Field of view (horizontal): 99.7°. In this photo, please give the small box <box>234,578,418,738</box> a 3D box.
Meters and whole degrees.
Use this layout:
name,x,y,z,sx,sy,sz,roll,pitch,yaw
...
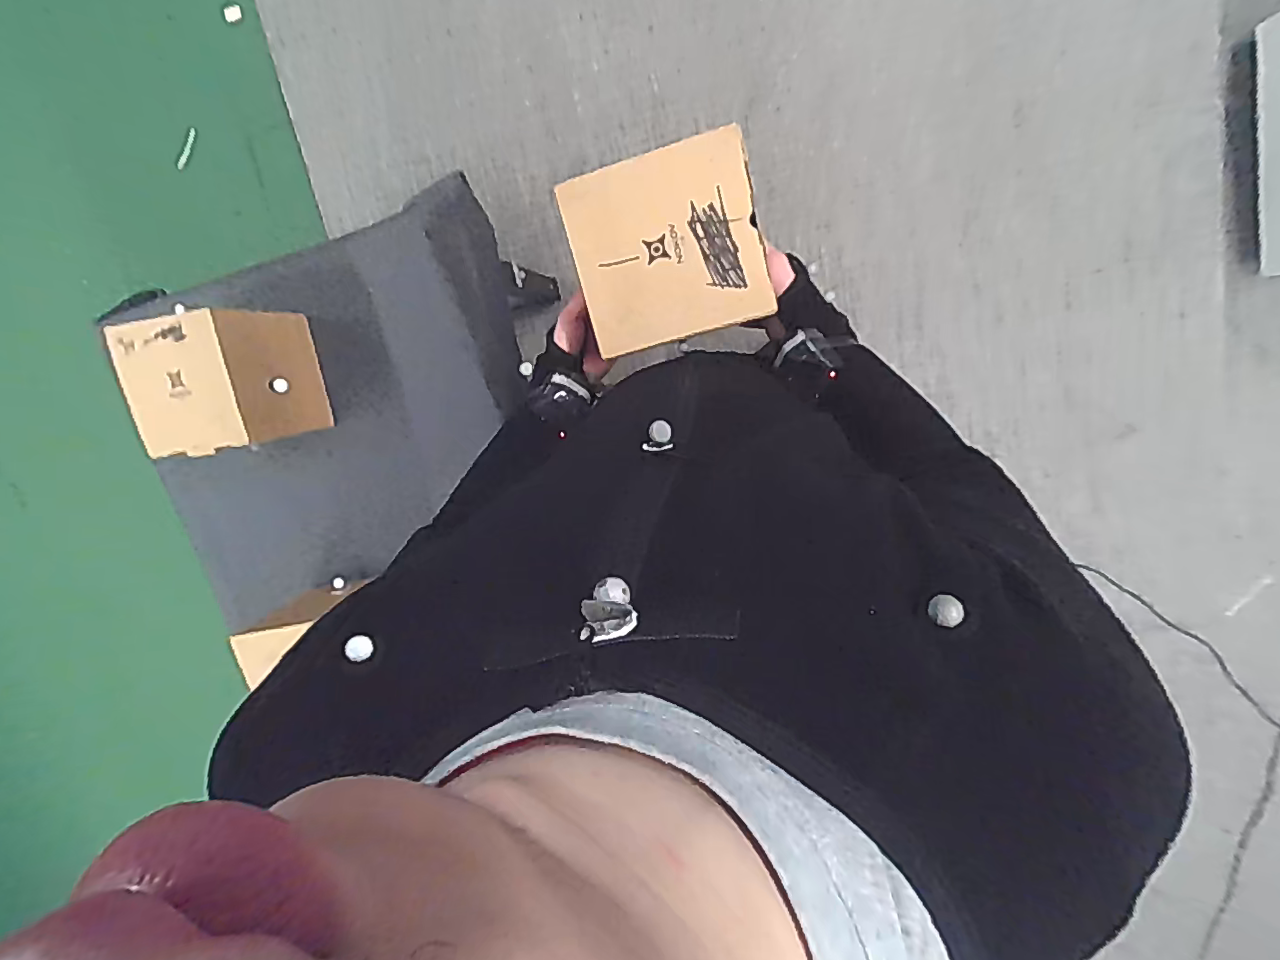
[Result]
name,x,y,z,sx,sy,sz,roll,pitch,yaw
small box,-0.494,0.283,0.880,0.168,0.176,0.179,-13,100,10

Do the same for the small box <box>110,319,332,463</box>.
name,x,y,z,sx,sy,sz,roll,pitch,yaw
small box,-0.588,-0.134,0.787,0.168,0.176,0.179,-6,104,9
